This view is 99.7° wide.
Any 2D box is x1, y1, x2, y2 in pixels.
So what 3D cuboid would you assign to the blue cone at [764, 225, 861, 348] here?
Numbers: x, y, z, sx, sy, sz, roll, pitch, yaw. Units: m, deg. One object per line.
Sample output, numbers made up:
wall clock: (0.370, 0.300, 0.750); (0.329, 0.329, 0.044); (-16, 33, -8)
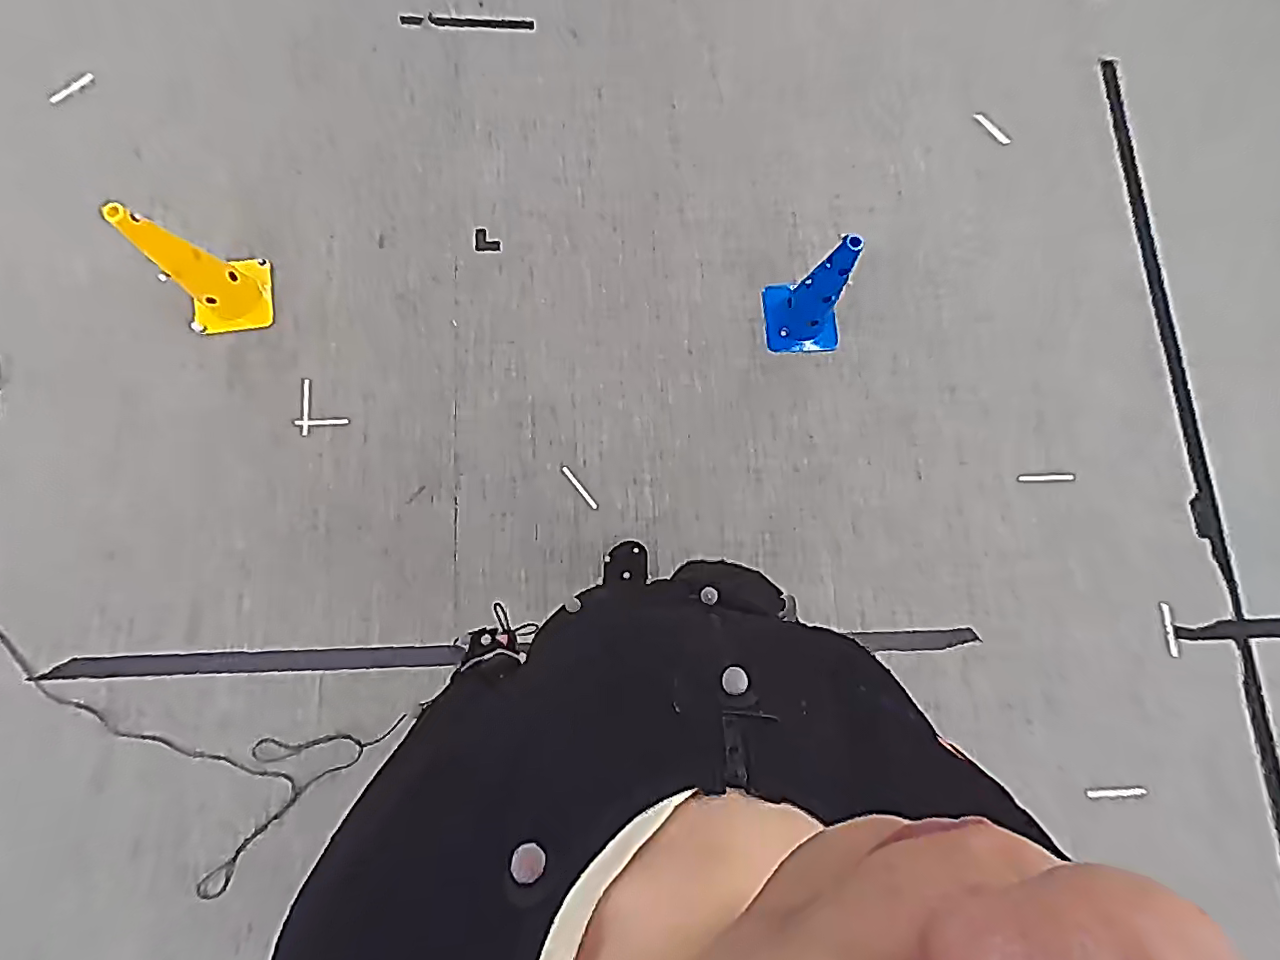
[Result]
blue cone: (0.451, -0.487, 1.339); (0.193, 0.380, 0.192); (-1, 79, -3)
